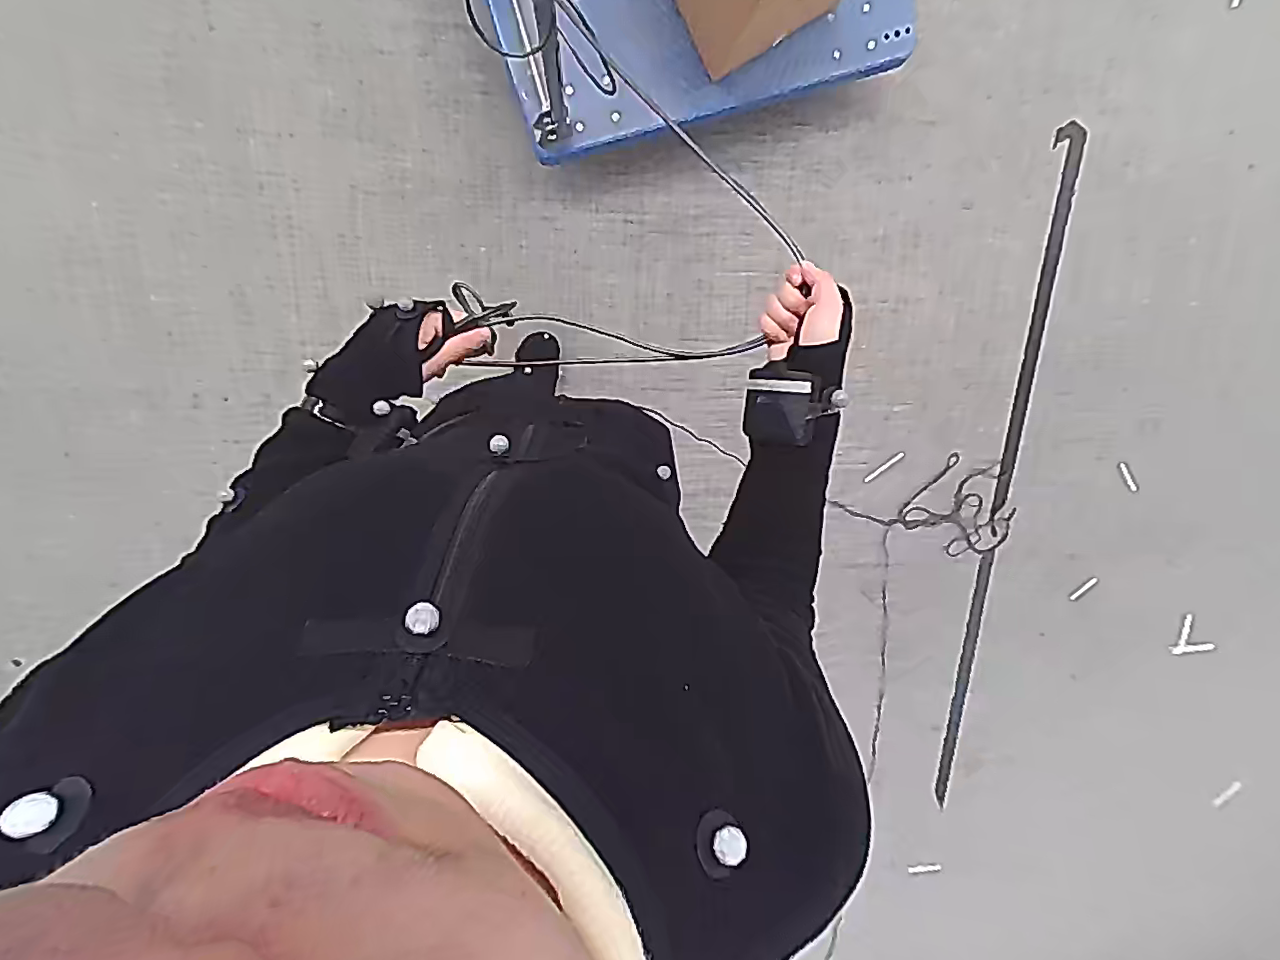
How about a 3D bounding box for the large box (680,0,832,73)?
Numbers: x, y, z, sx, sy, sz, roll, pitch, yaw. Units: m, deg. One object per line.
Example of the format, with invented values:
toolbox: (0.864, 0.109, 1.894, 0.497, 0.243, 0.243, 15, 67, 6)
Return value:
large box: (0.203, -1.047, 0.932, 0.320, 0.320, 0.408, -32, 108, 3)
